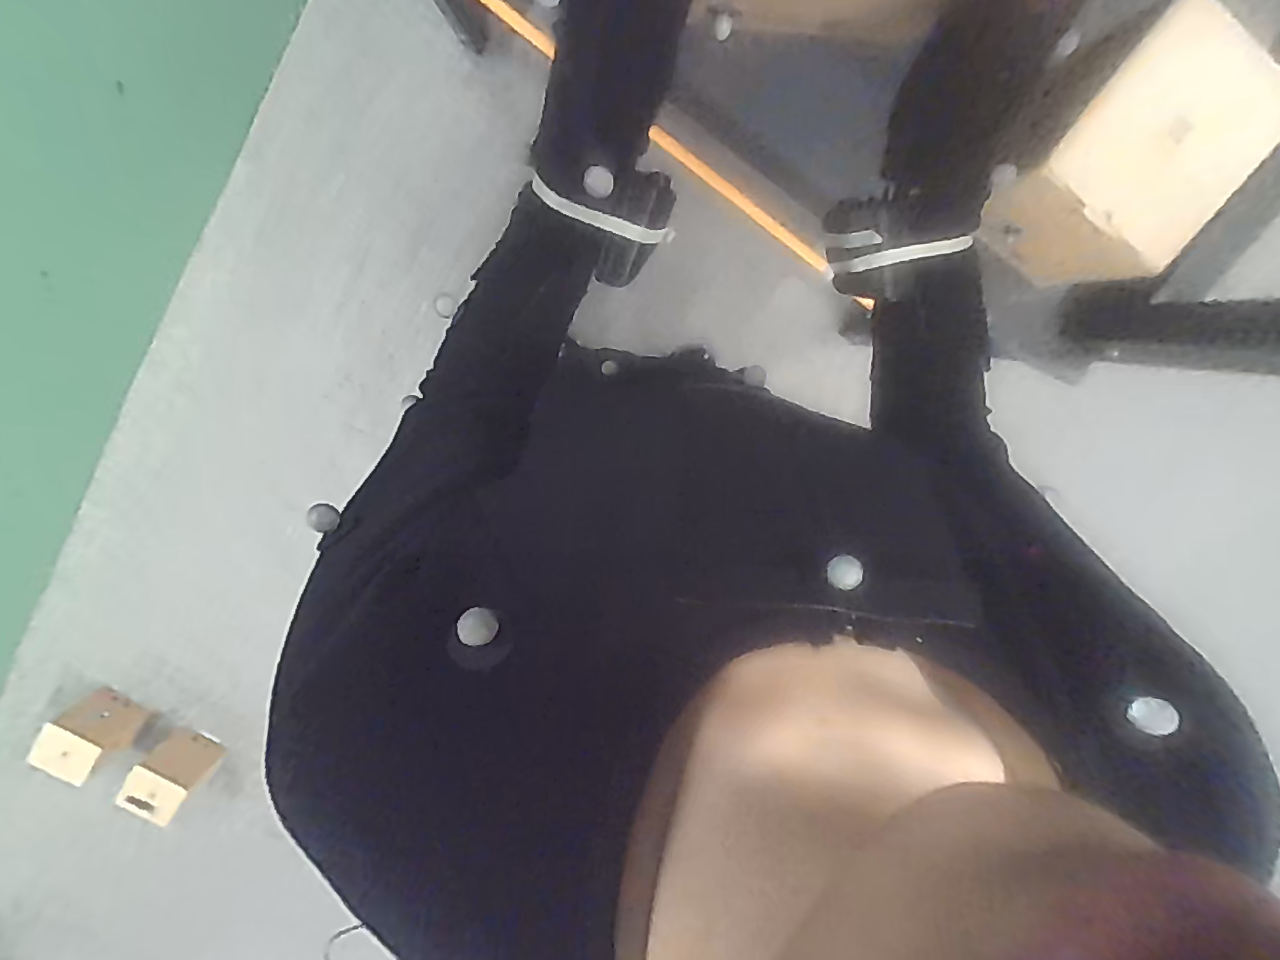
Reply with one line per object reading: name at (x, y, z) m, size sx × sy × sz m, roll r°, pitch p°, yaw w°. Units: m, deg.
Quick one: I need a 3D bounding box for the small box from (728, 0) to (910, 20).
small box at (0.097, -0.352, 0.250) m, size 0.168 × 0.176 × 0.179 m, roll 3°, pitch 113°, yaw -3°

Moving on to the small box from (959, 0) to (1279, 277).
small box at (0.480, -0.334, 0.555) m, size 0.168 × 0.176 × 0.179 m, roll 34°, pitch 104°, yaw -8°

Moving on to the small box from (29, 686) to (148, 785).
small box at (-1.659, 0.766, 1.639) m, size 0.168 × 0.176 × 0.179 m, roll 35°, pitch 103°, yaw -8°
